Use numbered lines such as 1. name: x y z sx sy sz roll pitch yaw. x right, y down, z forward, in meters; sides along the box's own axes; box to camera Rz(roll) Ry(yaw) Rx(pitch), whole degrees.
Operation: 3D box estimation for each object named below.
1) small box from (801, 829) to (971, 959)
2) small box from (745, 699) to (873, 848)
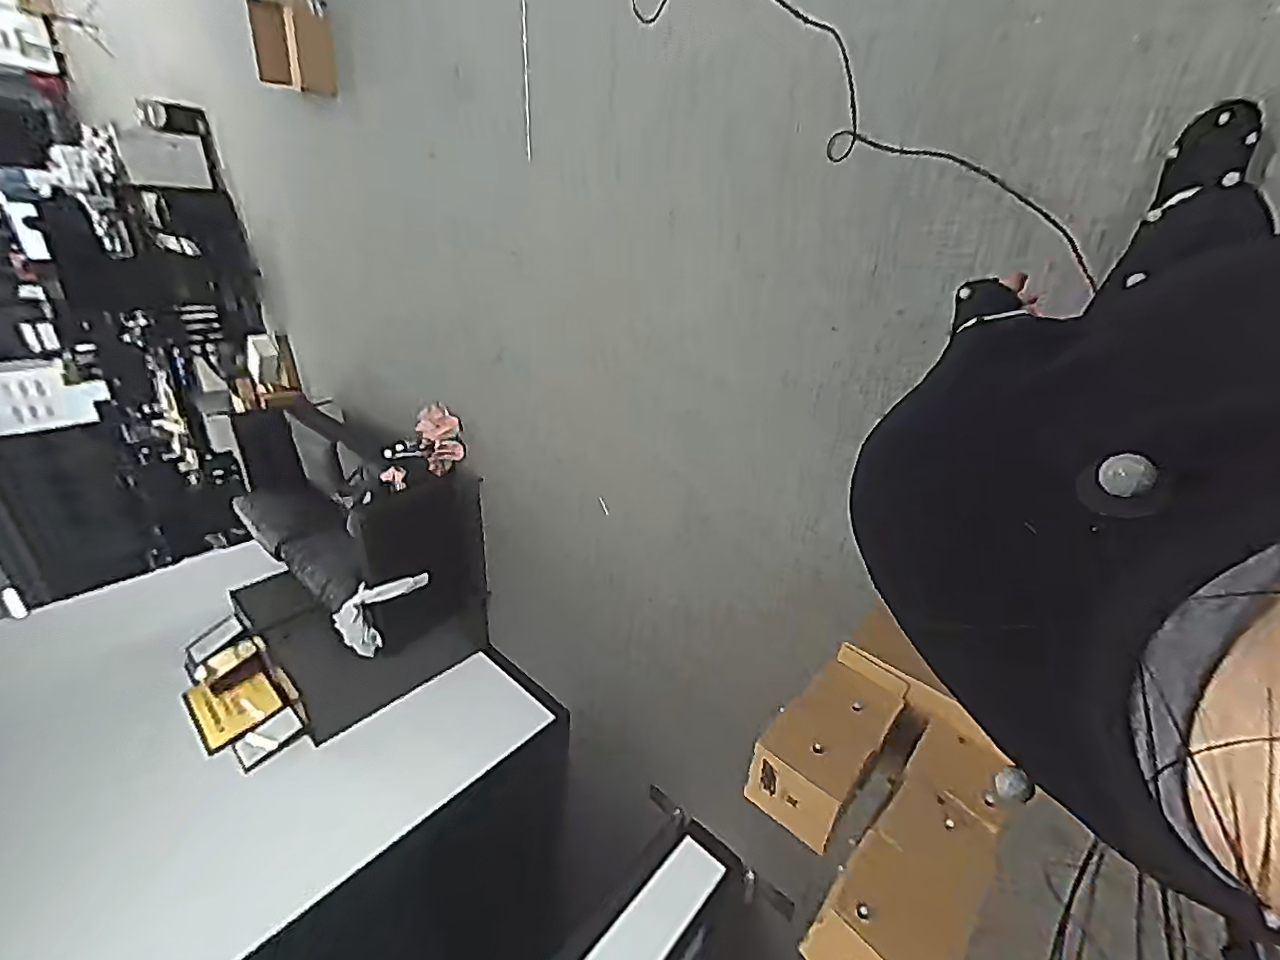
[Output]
1. small box: 0.397 0.723 0.875 0.179 0.176 0.168 32 127 33
2. small box: 0.345 0.583 1.105 0.179 0.176 0.168 25 123 34
